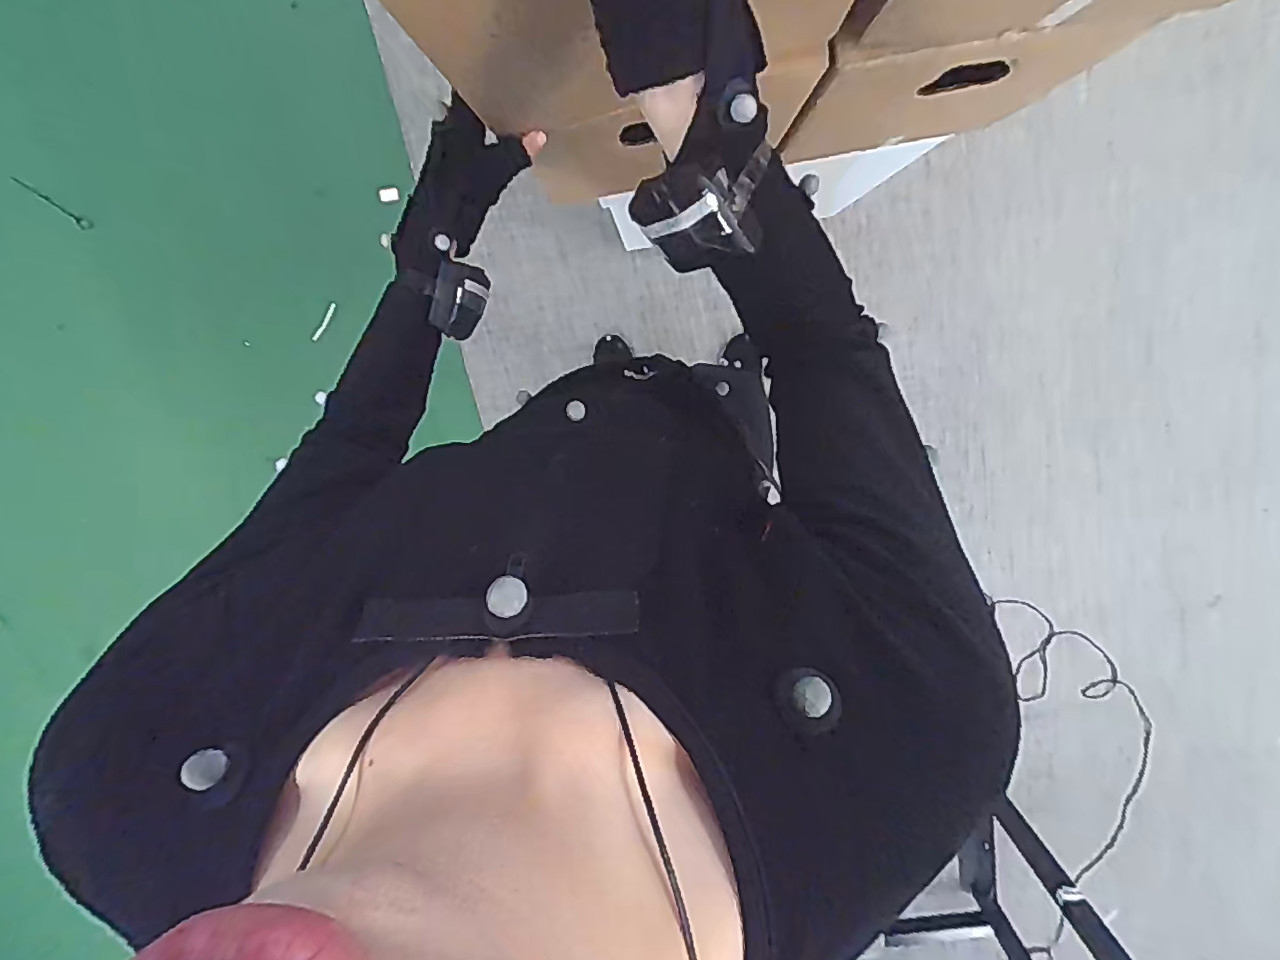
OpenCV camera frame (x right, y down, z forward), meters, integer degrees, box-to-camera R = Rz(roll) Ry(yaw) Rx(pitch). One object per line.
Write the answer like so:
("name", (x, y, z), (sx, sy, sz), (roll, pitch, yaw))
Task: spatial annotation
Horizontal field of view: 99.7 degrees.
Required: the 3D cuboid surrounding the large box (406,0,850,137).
("large box", (-0.036, -0.496, 0.293), (0.320, 0.320, 0.408), (-14, 103, 6))
